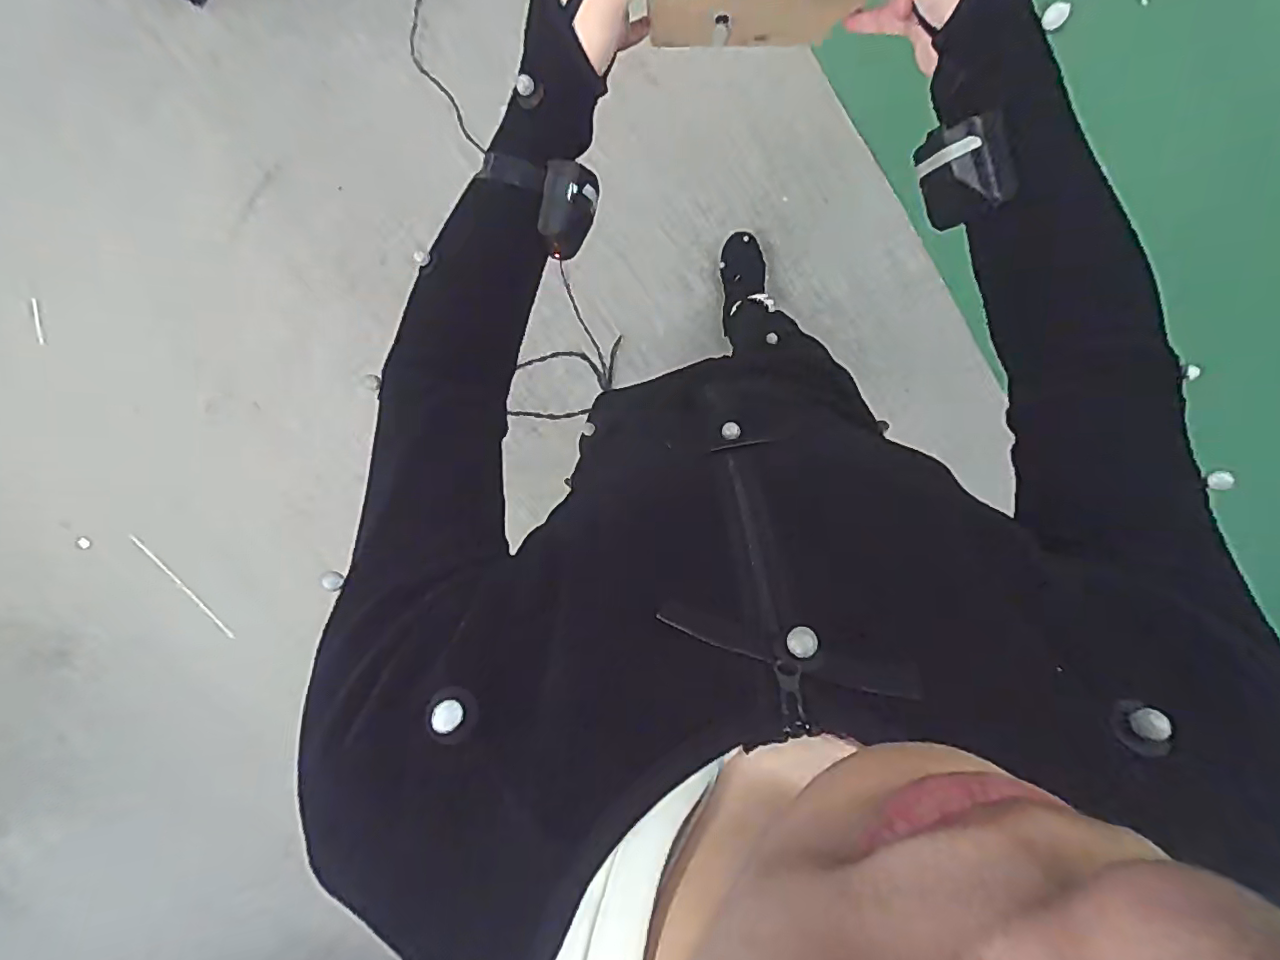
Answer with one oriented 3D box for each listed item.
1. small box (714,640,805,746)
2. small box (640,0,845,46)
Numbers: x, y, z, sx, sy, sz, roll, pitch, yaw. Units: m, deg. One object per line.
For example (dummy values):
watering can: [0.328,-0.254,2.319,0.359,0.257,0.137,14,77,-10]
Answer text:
small box: [0.315,0.567,1.464,0.179,0.176,0.168,-34,99,12]
small box: [0.085,-0.455,0.411,0.168,0.176,0.179,1,116,2]
